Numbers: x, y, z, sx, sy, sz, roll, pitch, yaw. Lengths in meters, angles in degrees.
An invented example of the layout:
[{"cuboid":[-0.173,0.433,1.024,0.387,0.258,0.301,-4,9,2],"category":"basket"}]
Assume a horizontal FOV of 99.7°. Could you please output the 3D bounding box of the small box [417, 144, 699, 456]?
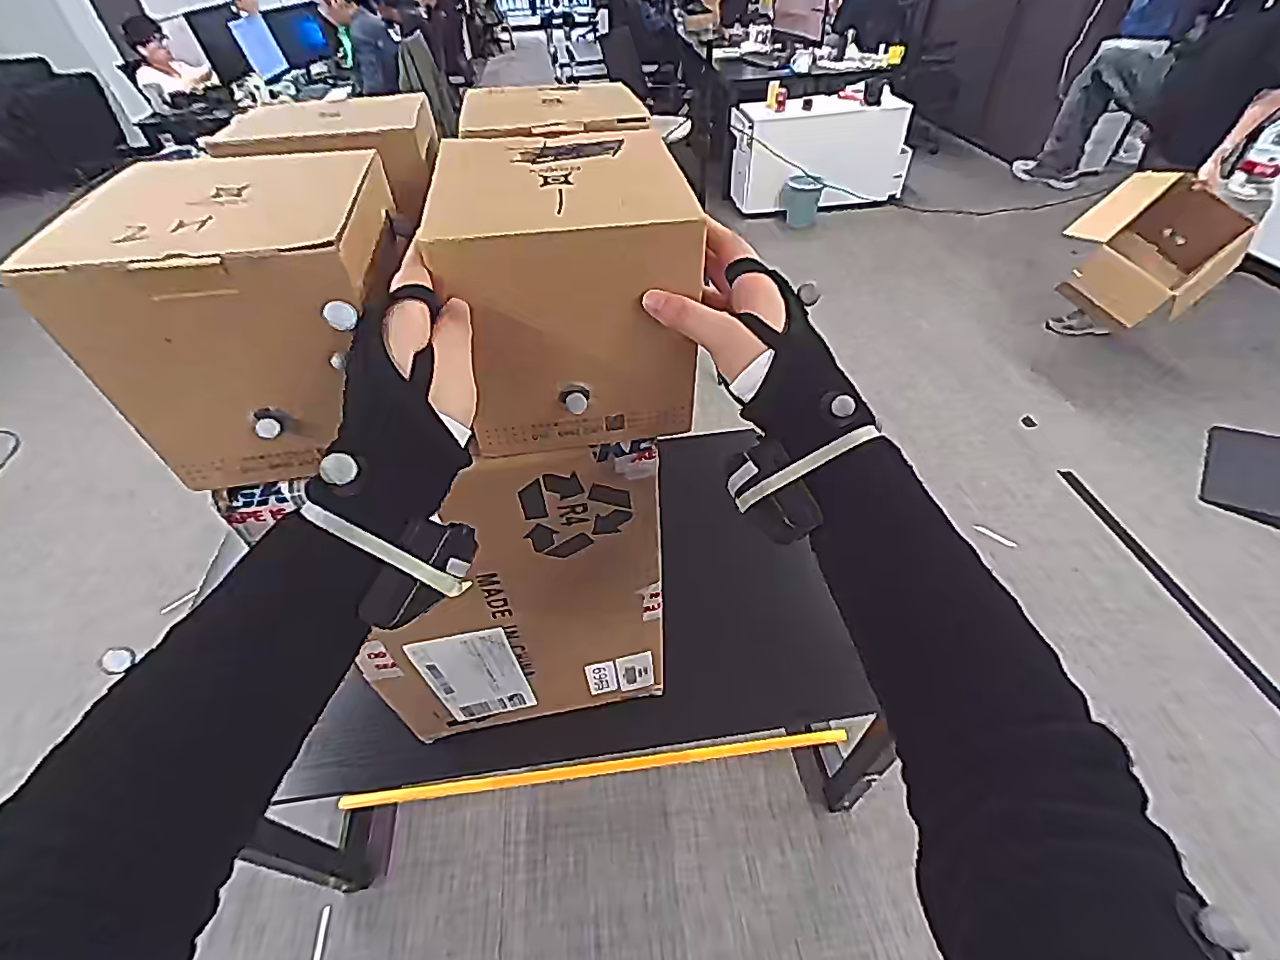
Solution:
[{"cuboid":[-0.057,-0.142,0.425,0.168,0.176,0.179,-8,47,-5],"category":"small box"}]
